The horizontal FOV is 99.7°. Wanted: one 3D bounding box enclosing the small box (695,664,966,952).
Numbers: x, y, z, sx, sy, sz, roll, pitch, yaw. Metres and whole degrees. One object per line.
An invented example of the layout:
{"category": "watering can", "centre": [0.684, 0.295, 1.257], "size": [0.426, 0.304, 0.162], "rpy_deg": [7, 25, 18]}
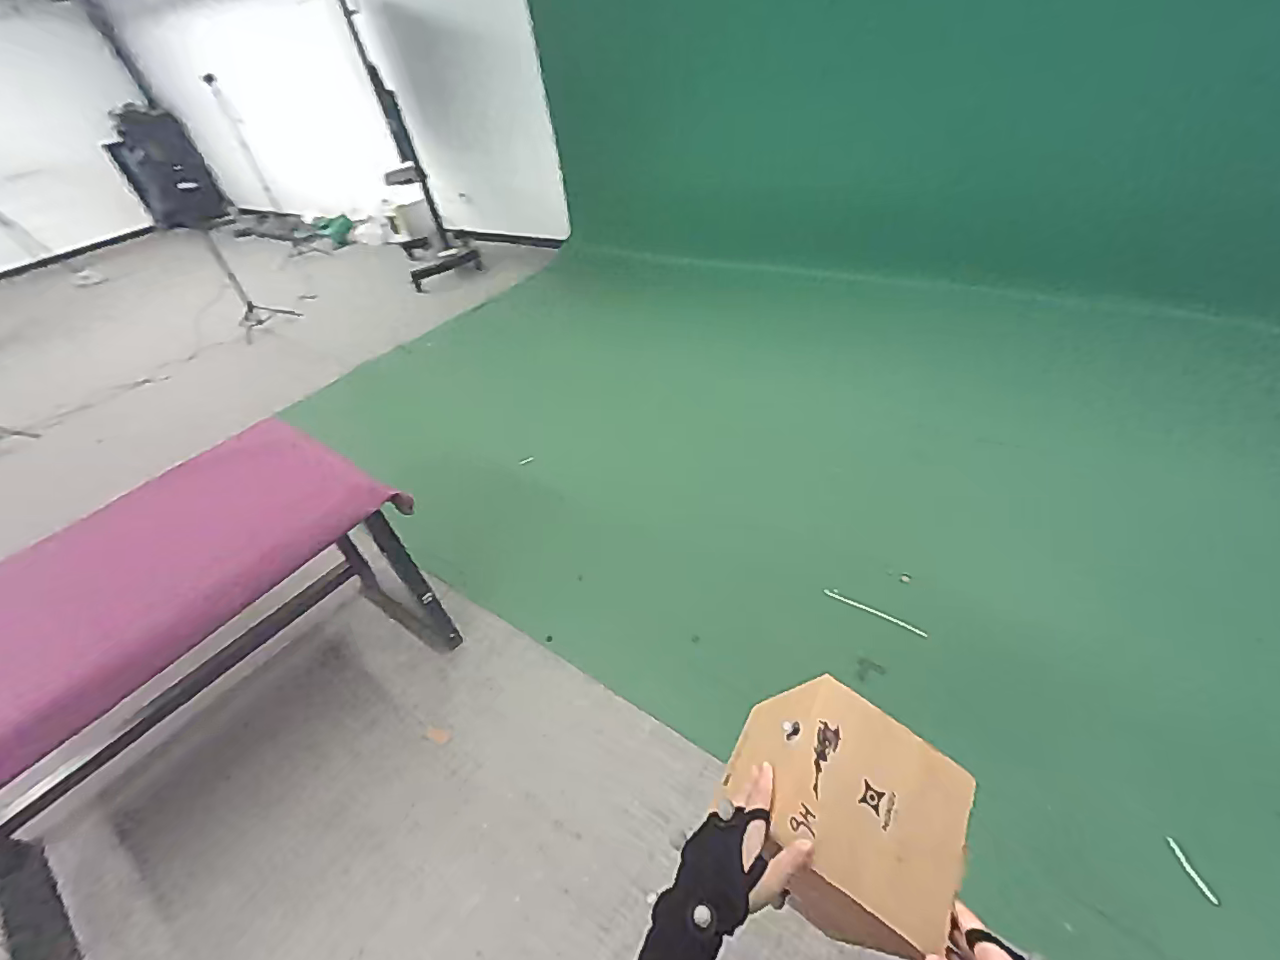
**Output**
{"category": "small box", "centre": [0.187, 0.326, 0.558], "size": [0.179, 0.176, 0.168], "rpy_deg": [35, 53, 6]}
